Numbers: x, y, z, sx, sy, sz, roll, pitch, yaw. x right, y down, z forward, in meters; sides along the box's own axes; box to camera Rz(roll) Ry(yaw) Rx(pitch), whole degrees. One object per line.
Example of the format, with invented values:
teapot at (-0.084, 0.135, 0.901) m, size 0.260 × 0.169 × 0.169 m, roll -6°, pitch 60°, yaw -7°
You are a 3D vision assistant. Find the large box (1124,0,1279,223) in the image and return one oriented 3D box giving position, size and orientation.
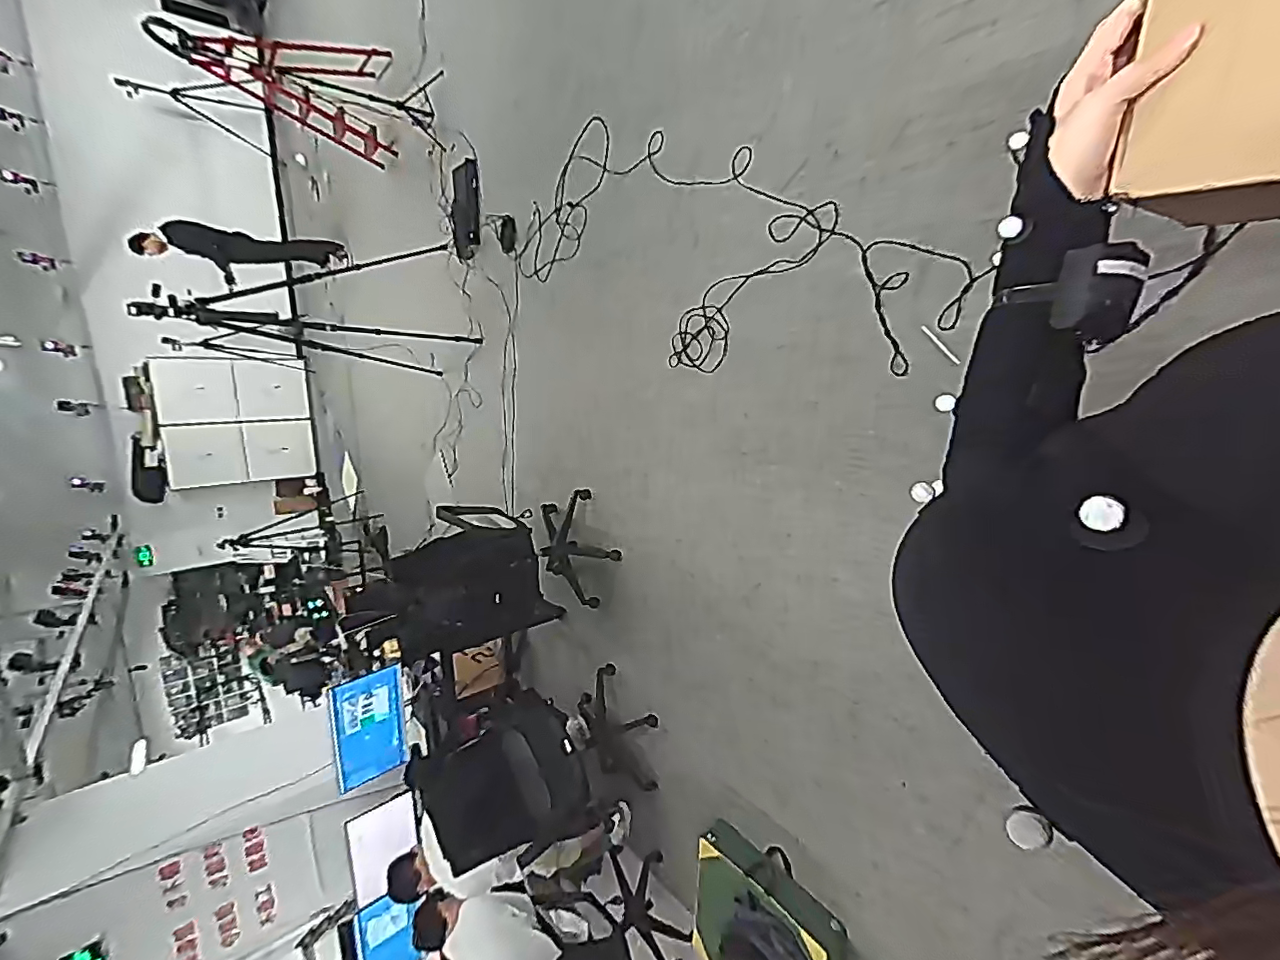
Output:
large box at (0.584, -0.350, 0.298) m, size 0.408 × 0.320 × 0.320 m, roll 17°, pitch 116°, yaw 47°
